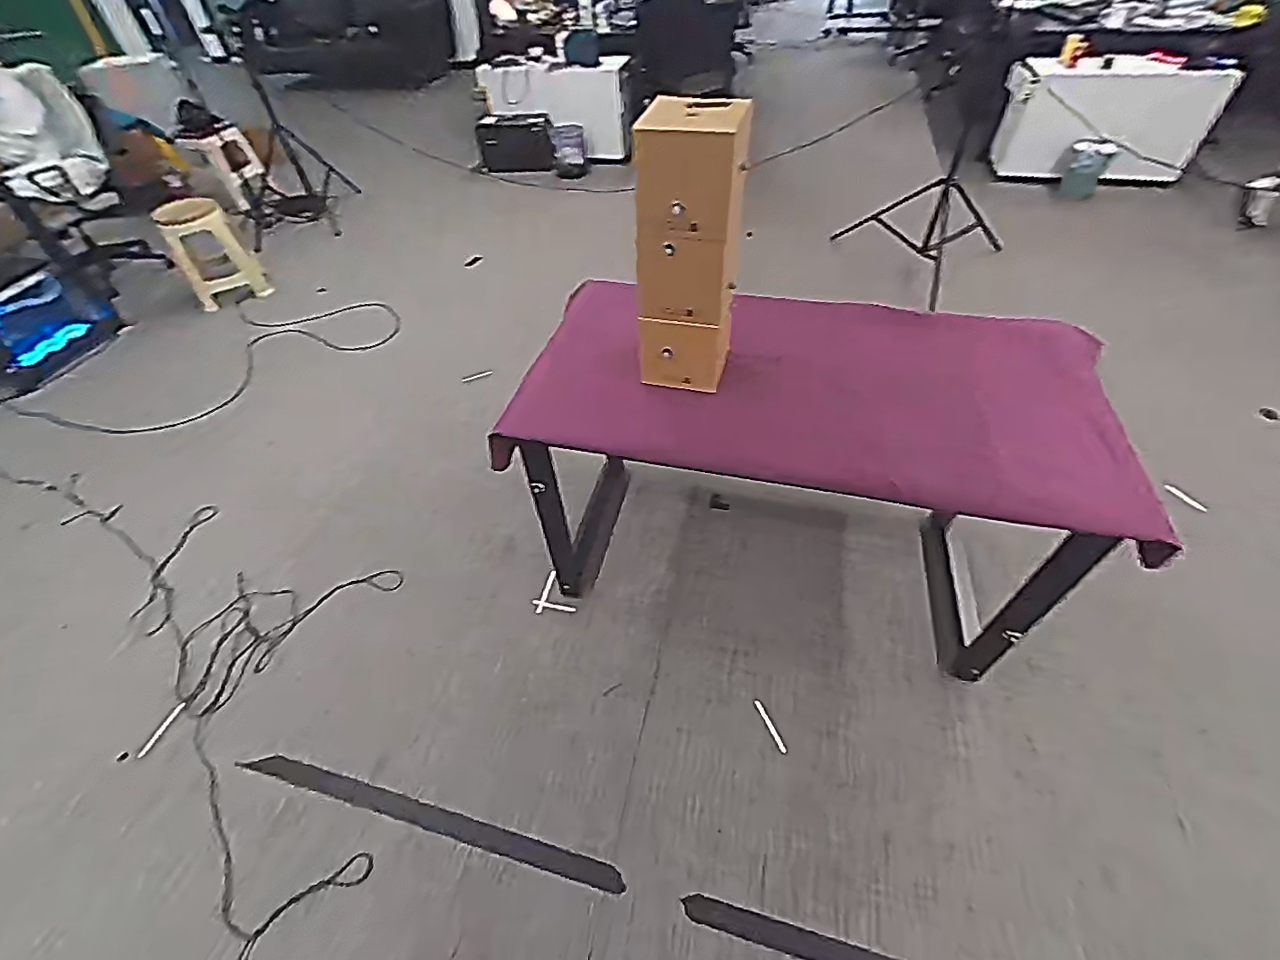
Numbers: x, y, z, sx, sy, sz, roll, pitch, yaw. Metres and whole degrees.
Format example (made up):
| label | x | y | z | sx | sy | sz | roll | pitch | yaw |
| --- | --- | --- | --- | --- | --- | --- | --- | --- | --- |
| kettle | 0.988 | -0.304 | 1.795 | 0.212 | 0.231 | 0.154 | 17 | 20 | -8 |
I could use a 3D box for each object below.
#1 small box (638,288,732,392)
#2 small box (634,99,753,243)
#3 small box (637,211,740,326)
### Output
| label | x | y | z | sx | sy | sz | roll | pitch | yaw |
| --- | --- | --- | --- | --- | --- | --- | --- | --- | --- |
| small box | 0.102 | -0.313 | 1.179 | 0.168 | 0.176 | 0.179 | 10 | 49 | 12 |
| small box | 0.092 | -0.536 | 0.937 | 0.168 | 0.176 | 0.179 | 10 | 50 | 12 |
| small box | 0.096 | -0.428 | 1.061 | 0.168 | 0.176 | 0.179 | 9 | 48 | 12 |
